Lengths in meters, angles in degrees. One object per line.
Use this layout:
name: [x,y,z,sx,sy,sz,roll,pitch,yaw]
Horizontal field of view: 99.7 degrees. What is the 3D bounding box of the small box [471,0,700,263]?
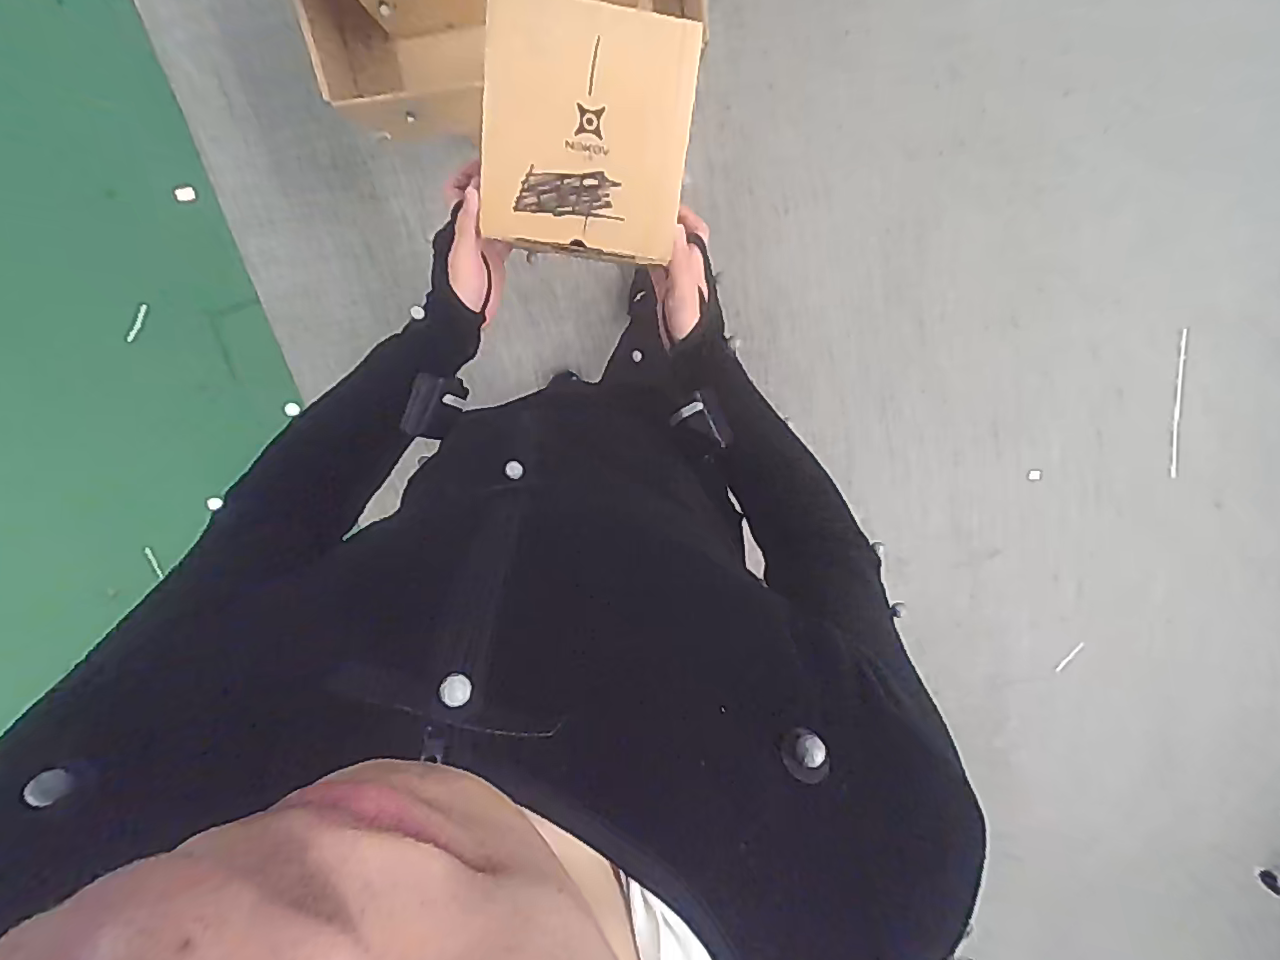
small box: [-0.052,-0.305,0.497,0.168,0.176,0.179,6,108,-8]
